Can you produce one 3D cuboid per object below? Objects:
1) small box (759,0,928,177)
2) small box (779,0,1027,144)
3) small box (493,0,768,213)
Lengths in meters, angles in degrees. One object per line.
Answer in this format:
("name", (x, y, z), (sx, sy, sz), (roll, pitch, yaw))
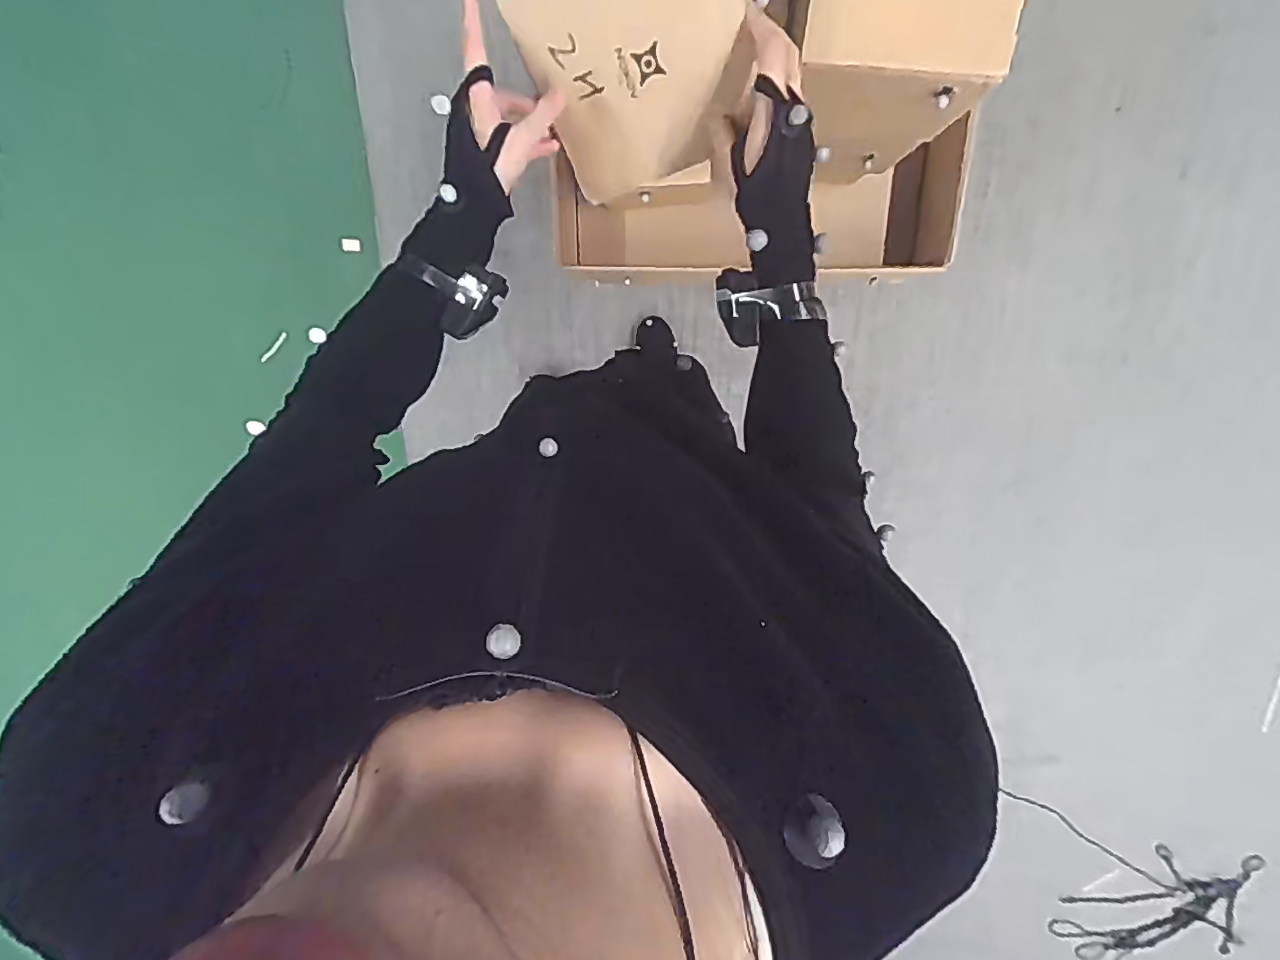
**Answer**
("small box", (0.252, -0.486, 0.666), (0.179, 0.176, 0.168), (6, 108, 5))
("small box", (0.238, -0.440, 0.512), (0.179, 0.176, 0.168), (7, 107, 4))
("small box", (0.008, -0.377, 0.478), (0.179, 0.176, 0.168), (-10, 134, 24))
